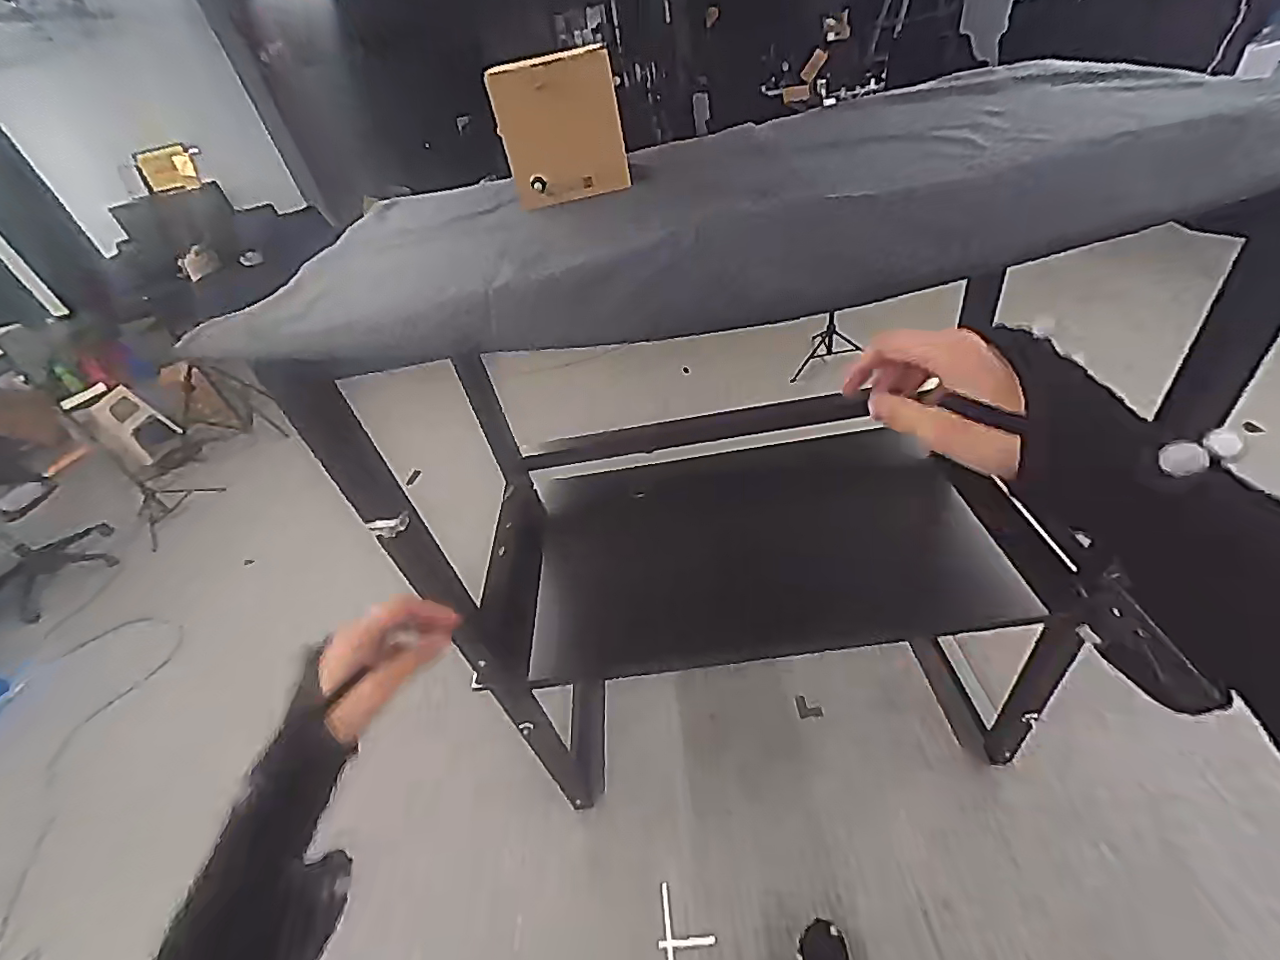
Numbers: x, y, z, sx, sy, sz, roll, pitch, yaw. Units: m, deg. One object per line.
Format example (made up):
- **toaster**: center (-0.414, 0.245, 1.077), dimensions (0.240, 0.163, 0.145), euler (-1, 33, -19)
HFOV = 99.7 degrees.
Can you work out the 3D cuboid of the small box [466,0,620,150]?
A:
- **small box**: center (-0.126, -0.584, 0.764), dimensions (0.168, 0.176, 0.179), euler (-11, 40, 1)
